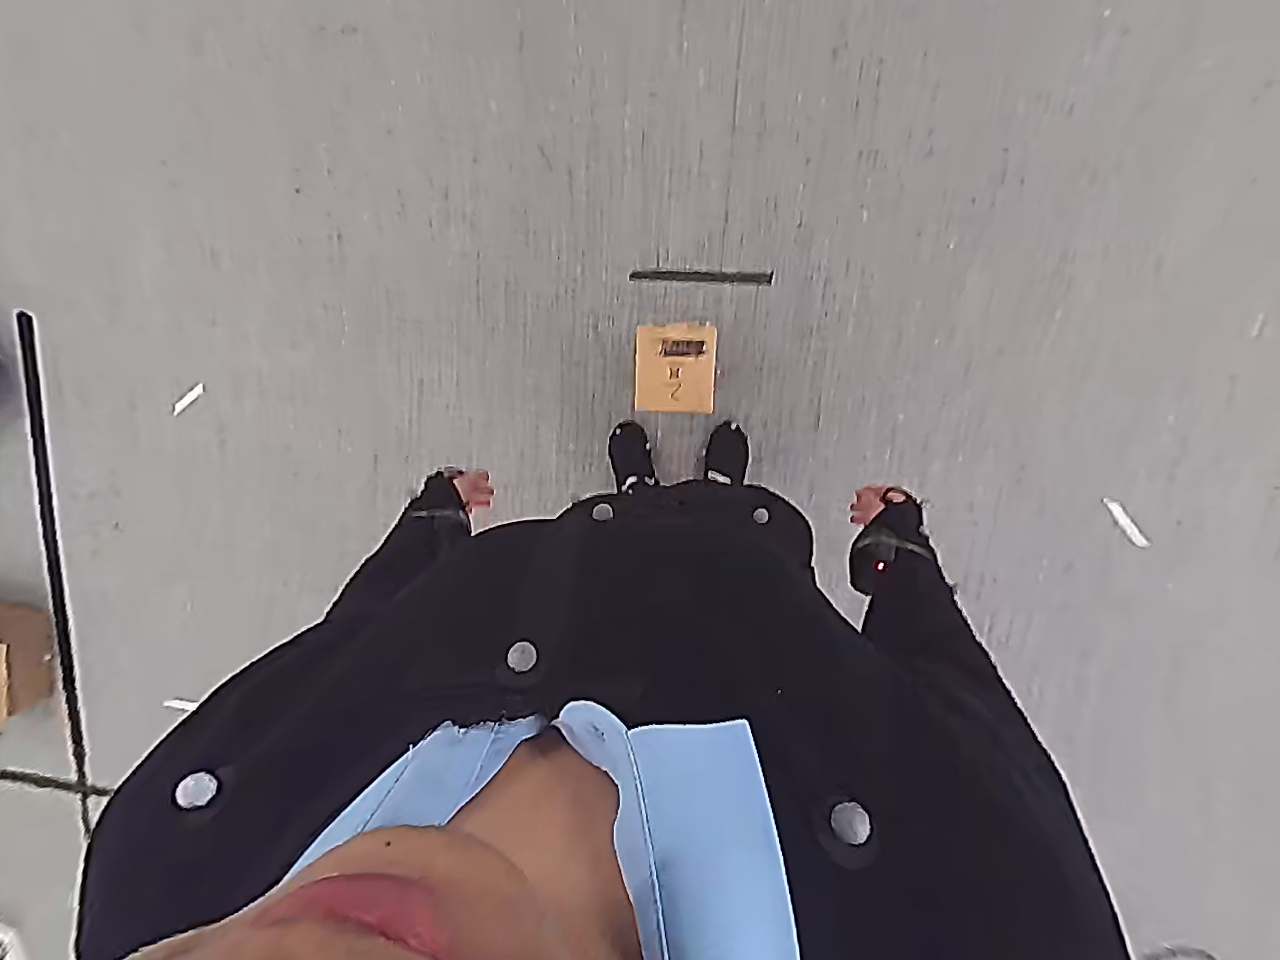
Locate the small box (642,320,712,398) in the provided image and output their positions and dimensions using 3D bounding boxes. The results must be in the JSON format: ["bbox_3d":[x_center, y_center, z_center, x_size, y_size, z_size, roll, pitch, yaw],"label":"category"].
[{"bbox_3d":[0.093,-0.295,1.343,0.168,0.176,0.179,0,100,6],"label":"small box"}]
